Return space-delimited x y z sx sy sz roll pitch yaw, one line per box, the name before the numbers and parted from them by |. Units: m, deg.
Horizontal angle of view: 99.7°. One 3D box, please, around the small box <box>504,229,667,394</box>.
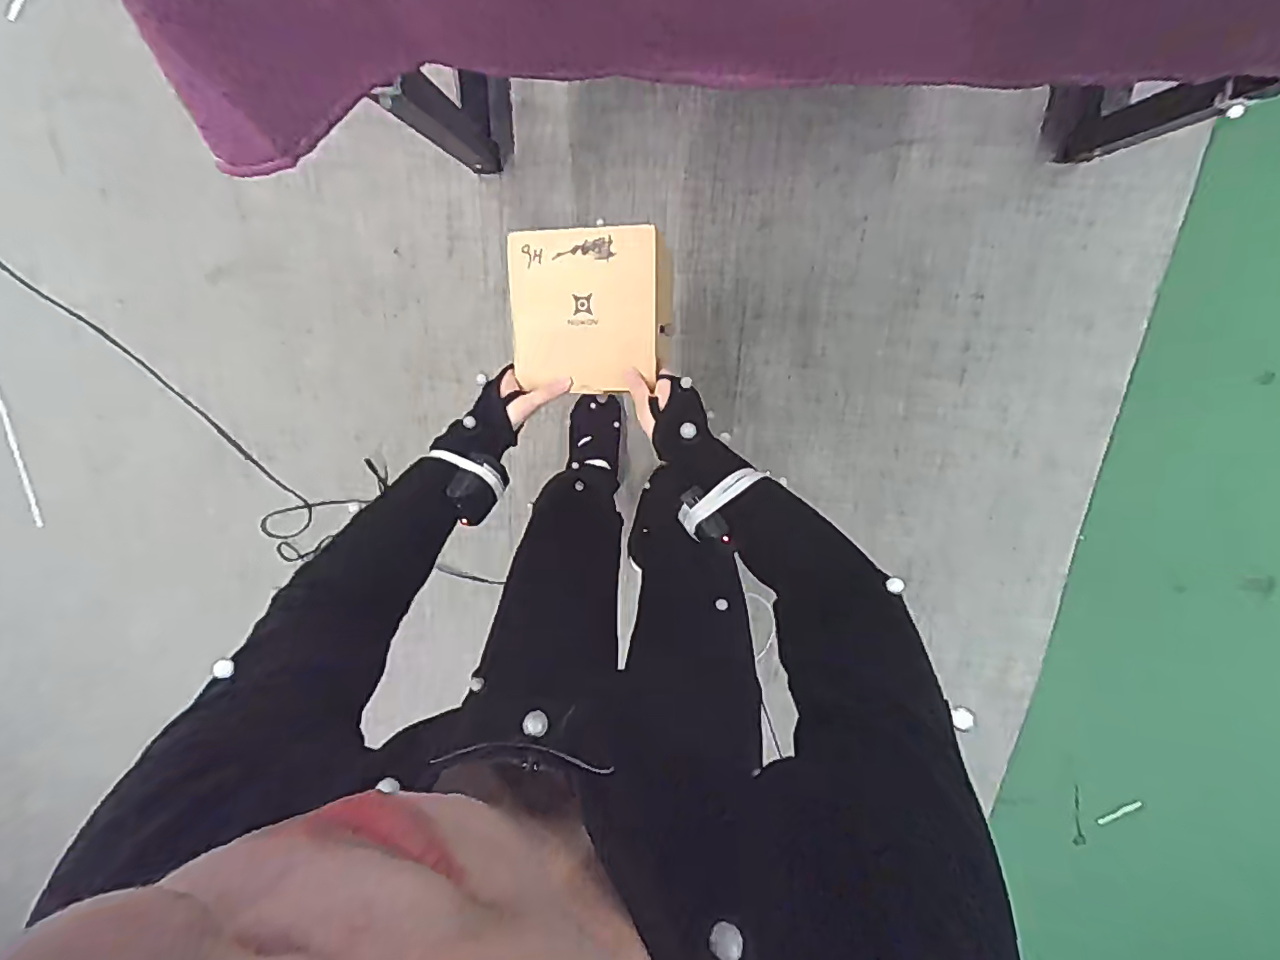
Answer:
small box | -0.058 -0.206 0.684 0.168 0.176 0.179 3 103 10
